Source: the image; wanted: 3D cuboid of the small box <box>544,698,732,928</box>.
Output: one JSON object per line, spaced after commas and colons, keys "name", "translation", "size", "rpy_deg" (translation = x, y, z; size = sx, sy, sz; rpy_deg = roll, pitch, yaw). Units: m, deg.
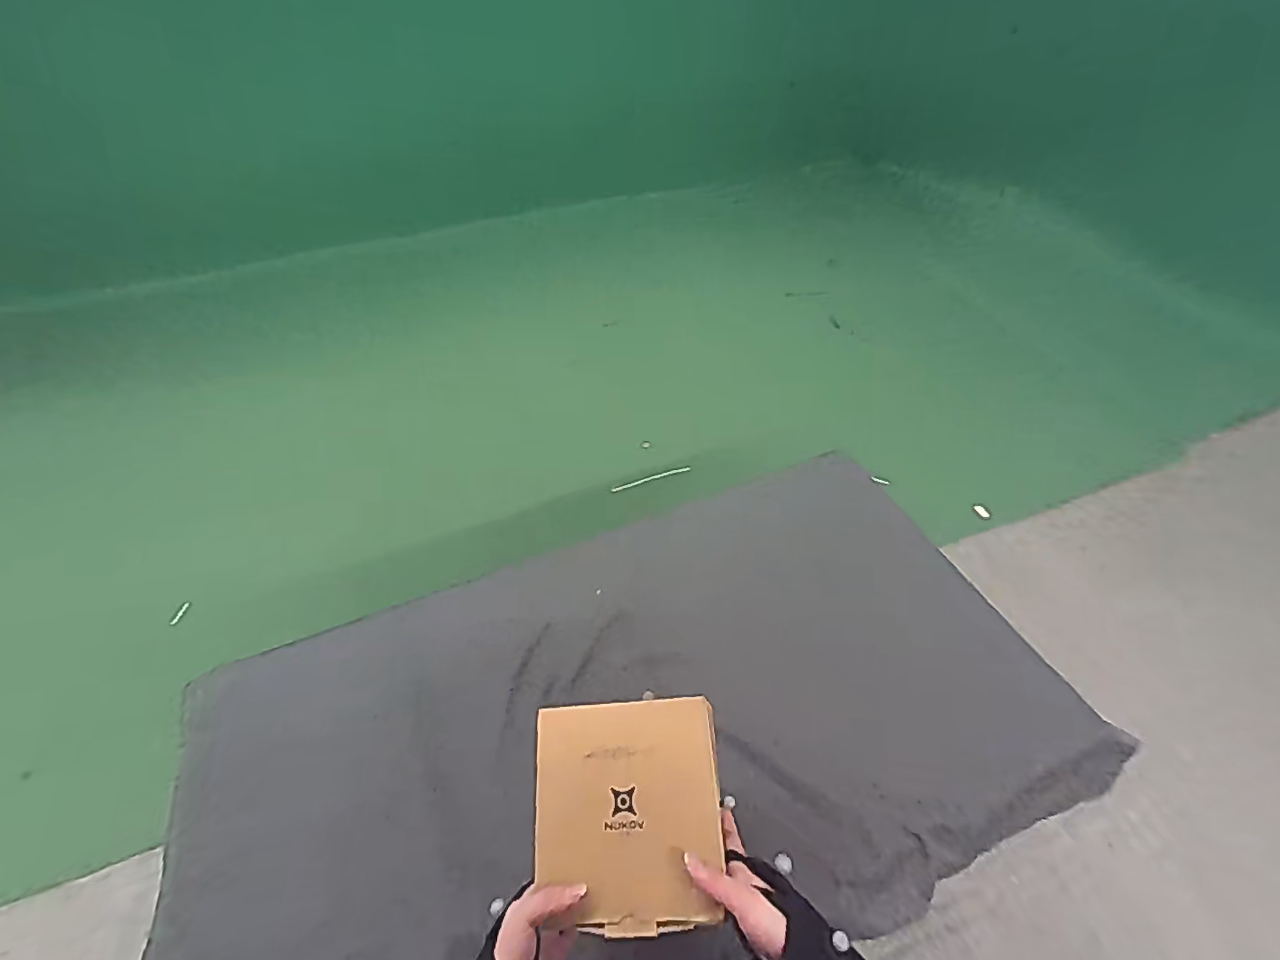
{"name": "small box", "translation": [0.005, 0.328, 0.561], "size": [0.168, 0.176, 0.179], "rpy_deg": [-7, 64, 5]}
